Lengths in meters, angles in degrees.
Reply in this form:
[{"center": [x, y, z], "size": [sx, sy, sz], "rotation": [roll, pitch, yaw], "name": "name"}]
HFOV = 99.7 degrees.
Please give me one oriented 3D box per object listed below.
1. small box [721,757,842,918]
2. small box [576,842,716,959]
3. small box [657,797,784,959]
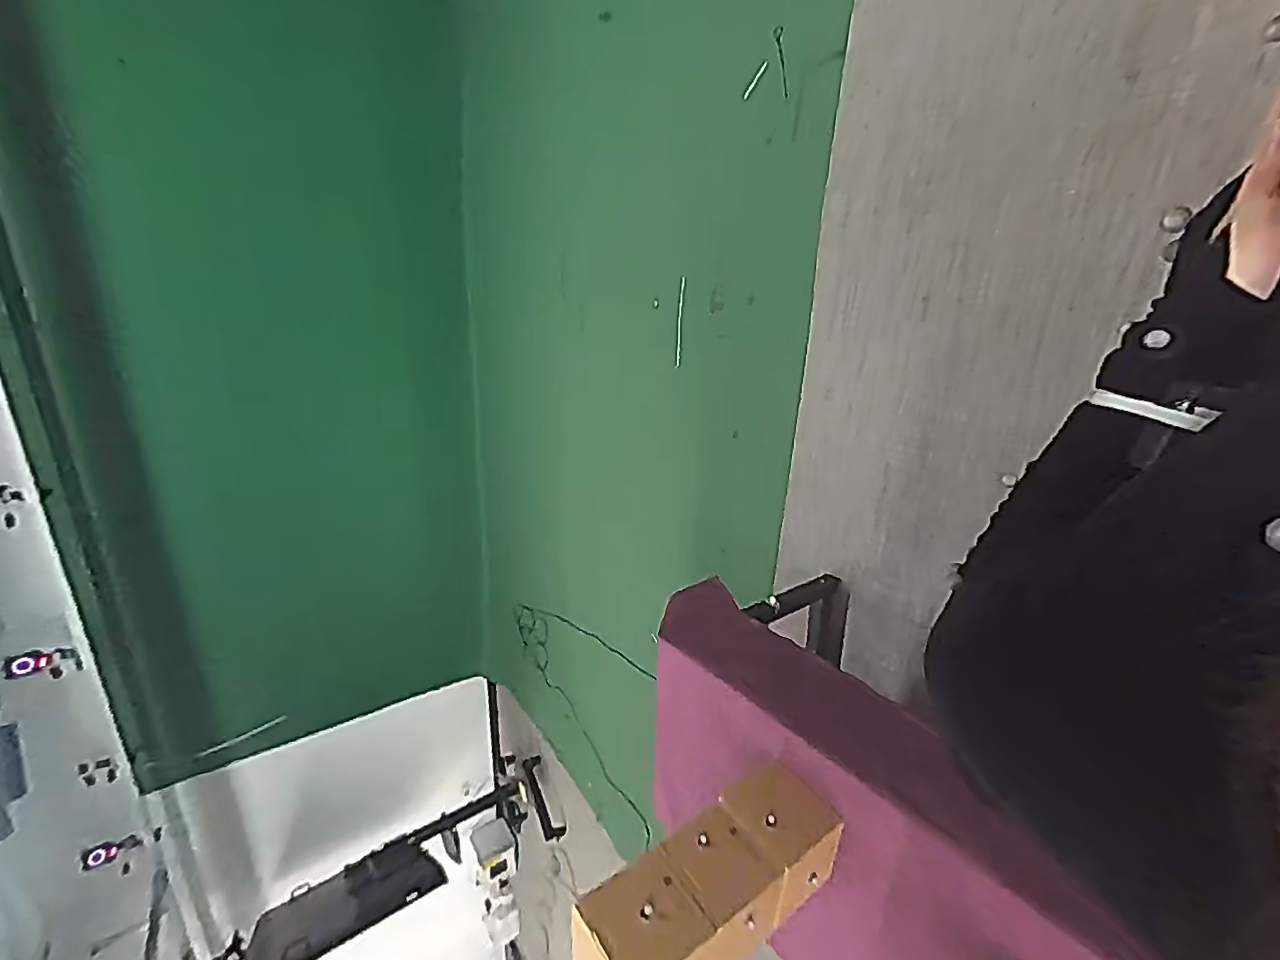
[{"center": [0.274, 0.699, 1.081], "size": [0.179, 0.176, 0.168], "rotation": [30, 122, 49], "name": "small box"}, {"center": [0.008, 0.760, 0.900], "size": [0.168, 0.176, 0.179], "rotation": [29, 121, 50], "name": "small box"}, {"center": [0.141, 0.733, 0.993], "size": [0.168, 0.176, 0.179], "rotation": [30, 123, 49], "name": "small box"}]
